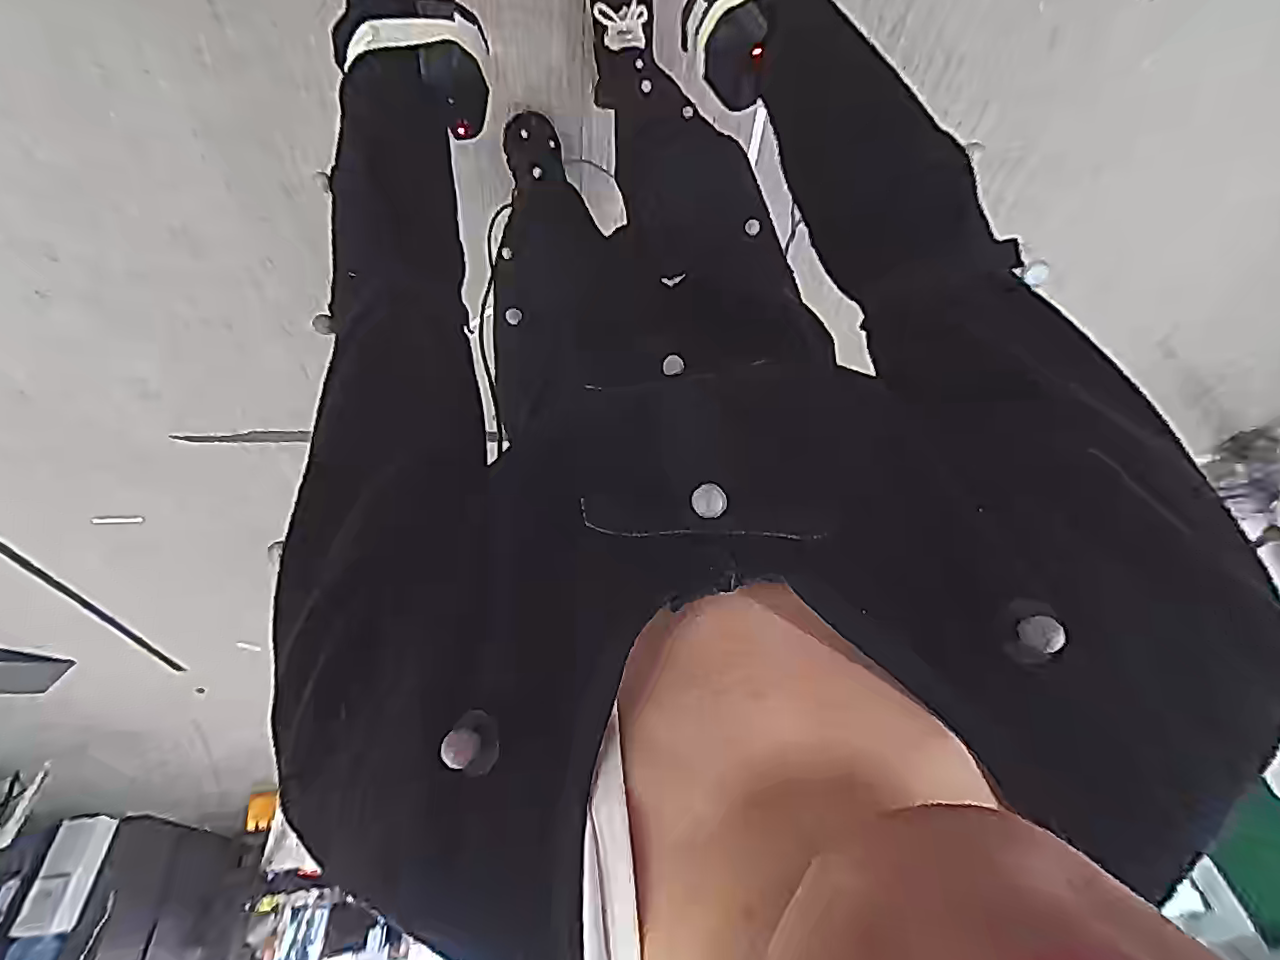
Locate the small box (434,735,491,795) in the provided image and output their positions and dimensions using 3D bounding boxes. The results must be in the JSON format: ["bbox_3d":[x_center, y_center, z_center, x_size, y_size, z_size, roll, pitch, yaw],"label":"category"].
[{"bbox_3d":[-0.614,0.999,1.885,0.168,0.176,0.179,-2,141,-10],"label":"small box"}]
